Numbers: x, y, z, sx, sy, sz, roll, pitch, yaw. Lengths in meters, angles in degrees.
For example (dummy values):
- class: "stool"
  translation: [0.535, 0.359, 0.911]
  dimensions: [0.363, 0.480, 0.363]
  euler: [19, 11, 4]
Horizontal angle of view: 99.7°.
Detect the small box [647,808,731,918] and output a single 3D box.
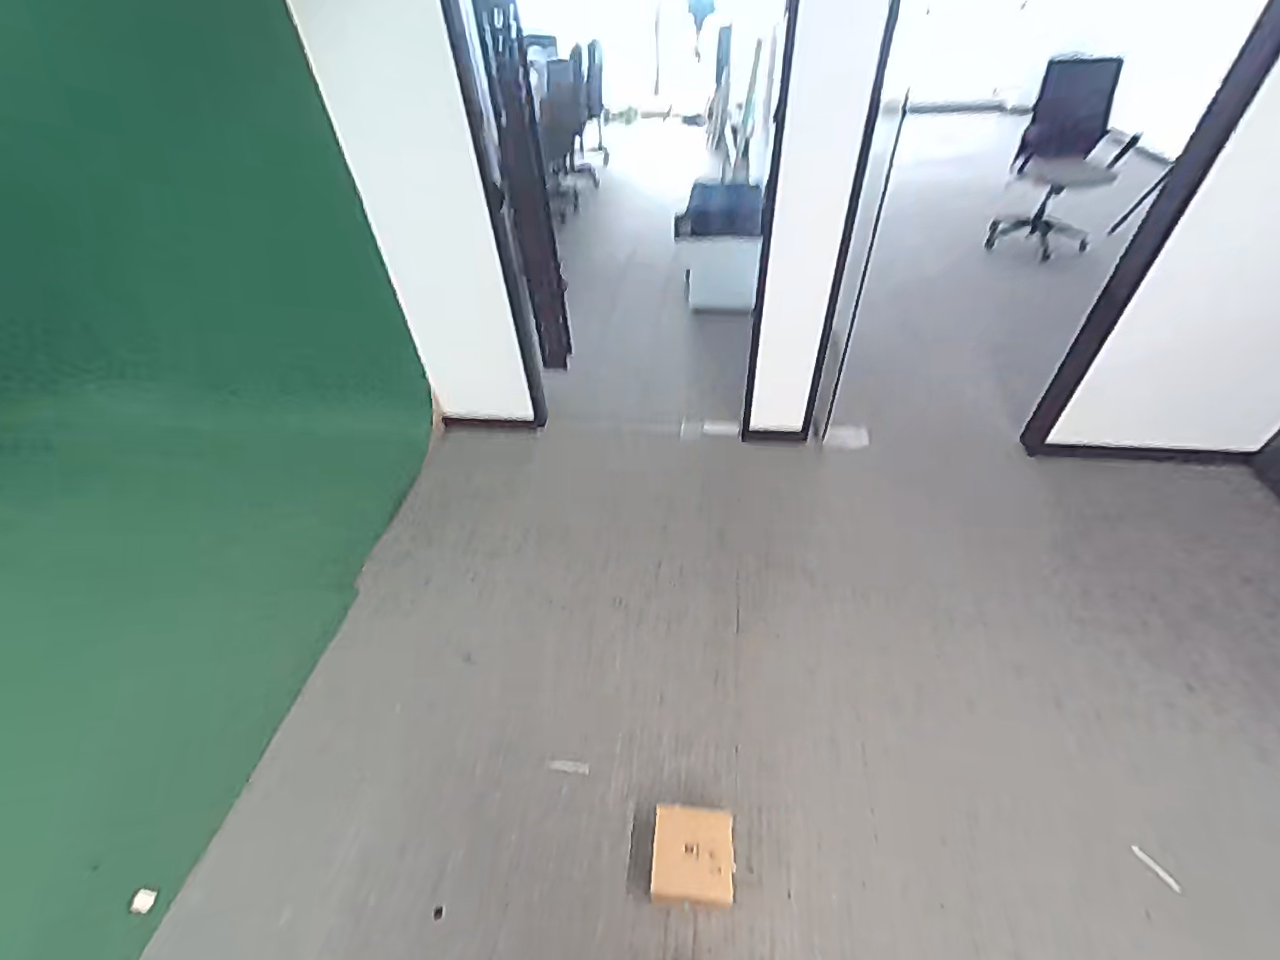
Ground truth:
- class: "small box"
  translation: [0.114, 0.874, 1.231]
  dimensions: [0.179, 0.176, 0.168]
  euler: [4, 44, 7]
